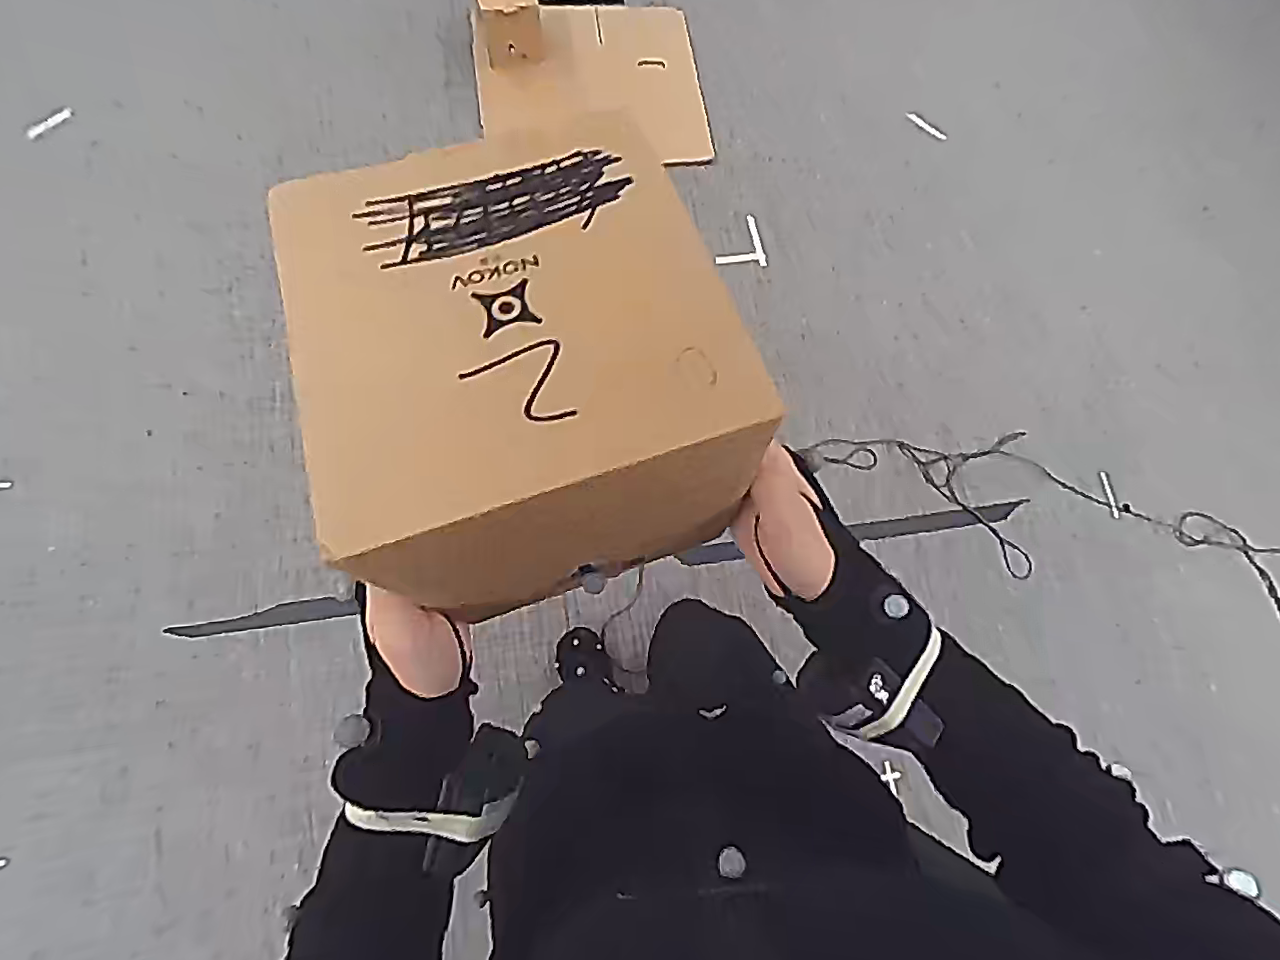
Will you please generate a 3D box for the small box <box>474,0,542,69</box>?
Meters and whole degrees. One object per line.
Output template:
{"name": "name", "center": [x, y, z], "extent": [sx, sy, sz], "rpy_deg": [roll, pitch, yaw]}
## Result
{"name": "small box", "center": [-0.398, -1.384, 1.614], "extent": [0.168, 0.176, 0.179], "rpy_deg": [-17, 80, -9]}
